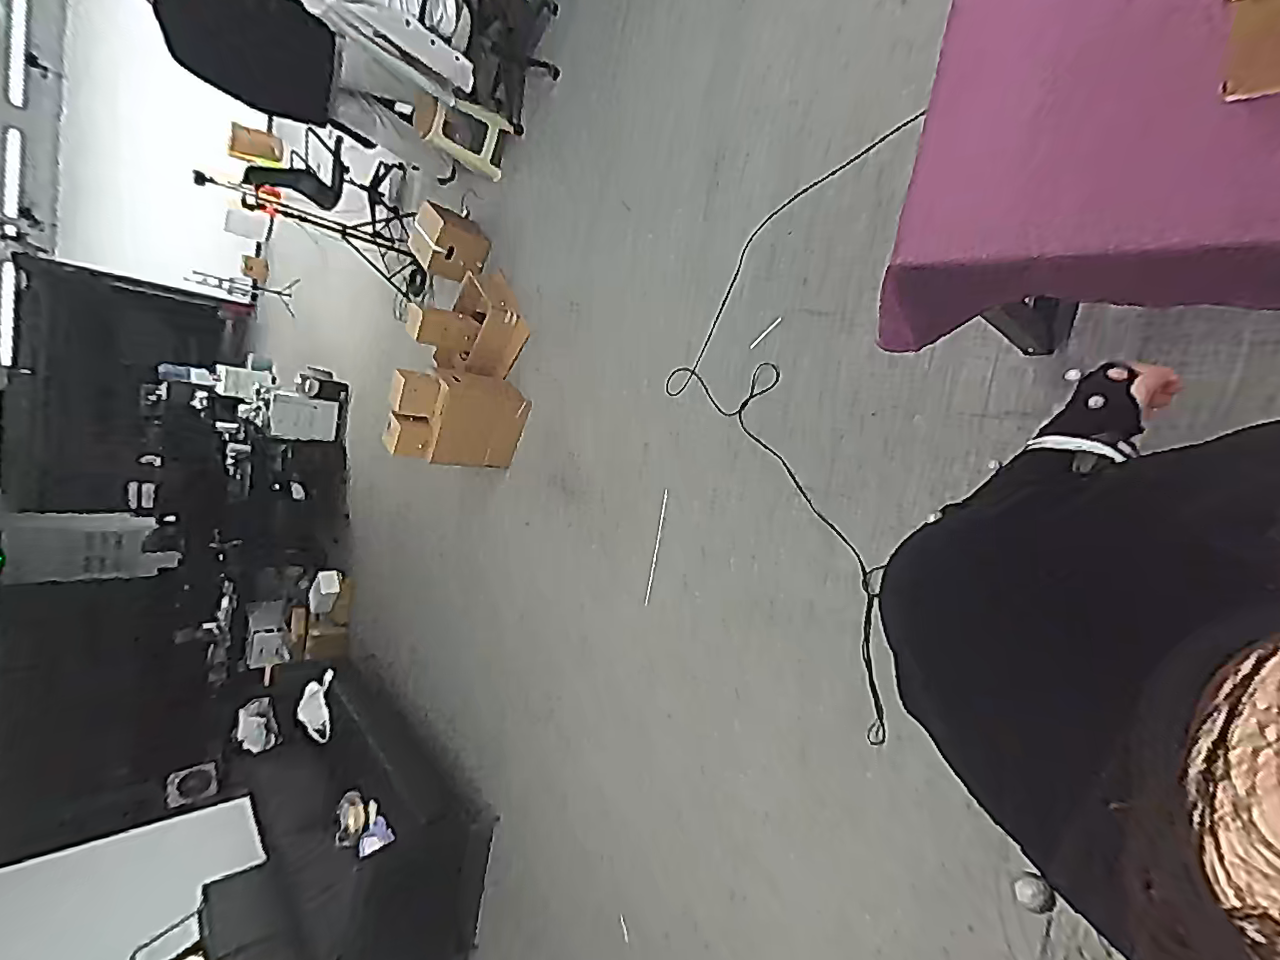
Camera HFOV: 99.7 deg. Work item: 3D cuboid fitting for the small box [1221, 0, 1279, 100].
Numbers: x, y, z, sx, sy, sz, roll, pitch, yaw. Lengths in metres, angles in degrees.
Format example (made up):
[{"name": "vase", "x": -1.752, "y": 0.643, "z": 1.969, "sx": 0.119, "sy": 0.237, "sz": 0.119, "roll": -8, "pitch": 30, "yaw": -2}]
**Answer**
[{"name": "small box", "x": 0.644, "y": -0.481, "z": 0.468, "sx": 0.168, "sy": 0.176, "sz": 0.179, "roll": 19, "pitch": 101, "yaw": 45}]
